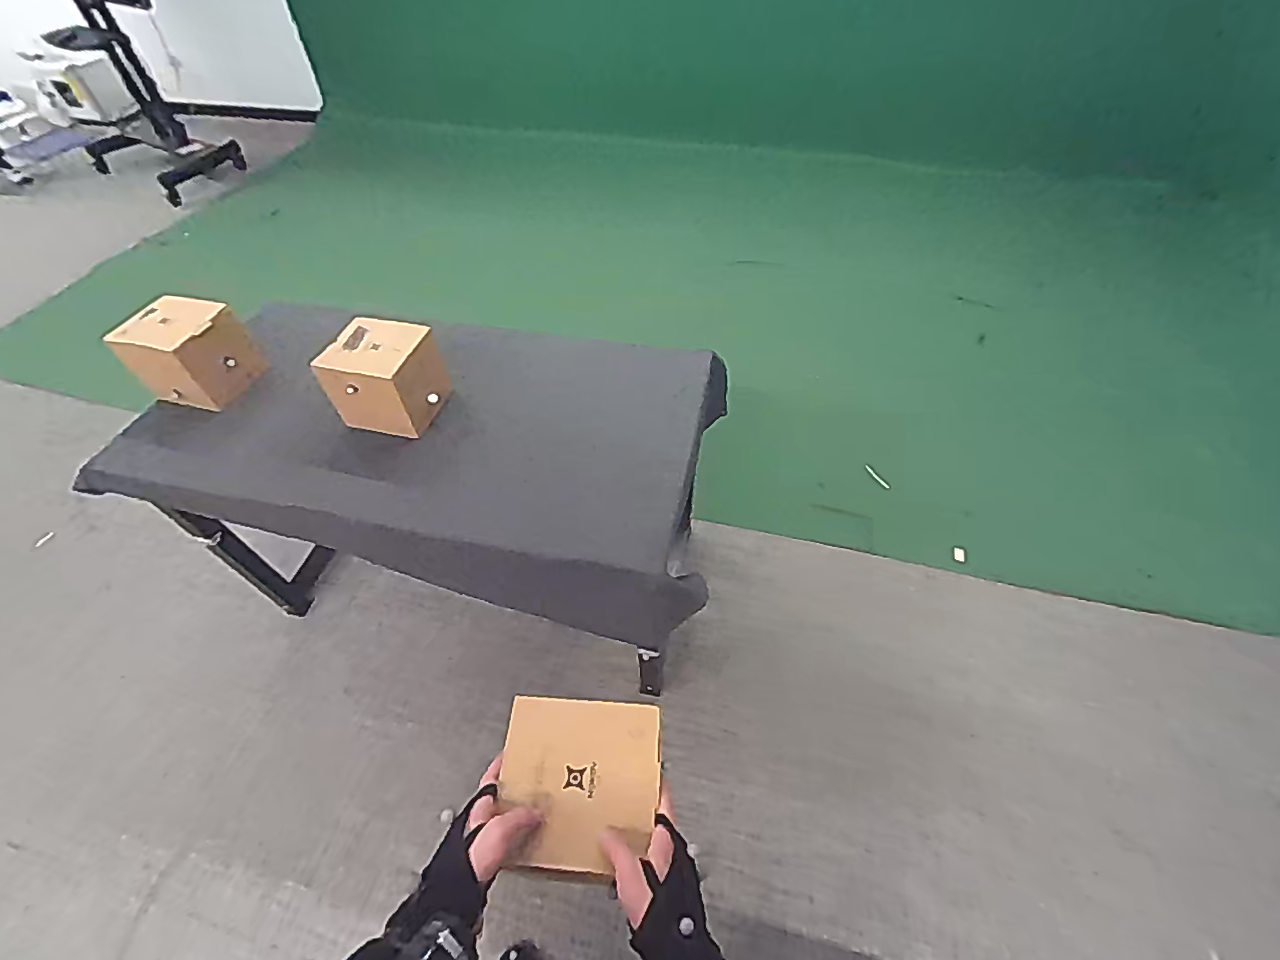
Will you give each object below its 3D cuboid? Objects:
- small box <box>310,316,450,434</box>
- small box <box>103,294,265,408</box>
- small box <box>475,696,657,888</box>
[{"bbox_3d":[-0.530,-0.217,1.129,0.179,0.176,0.168,11,53,9],"label":"small box"},{"bbox_3d":[-0.988,-0.281,1.195,0.179,0.176,0.168,12,53,10],"label":"small box"},{"bbox_3d":[-0.071,0.370,0.638,0.179,0.176,0.168,1,49,3],"label":"small box"}]
